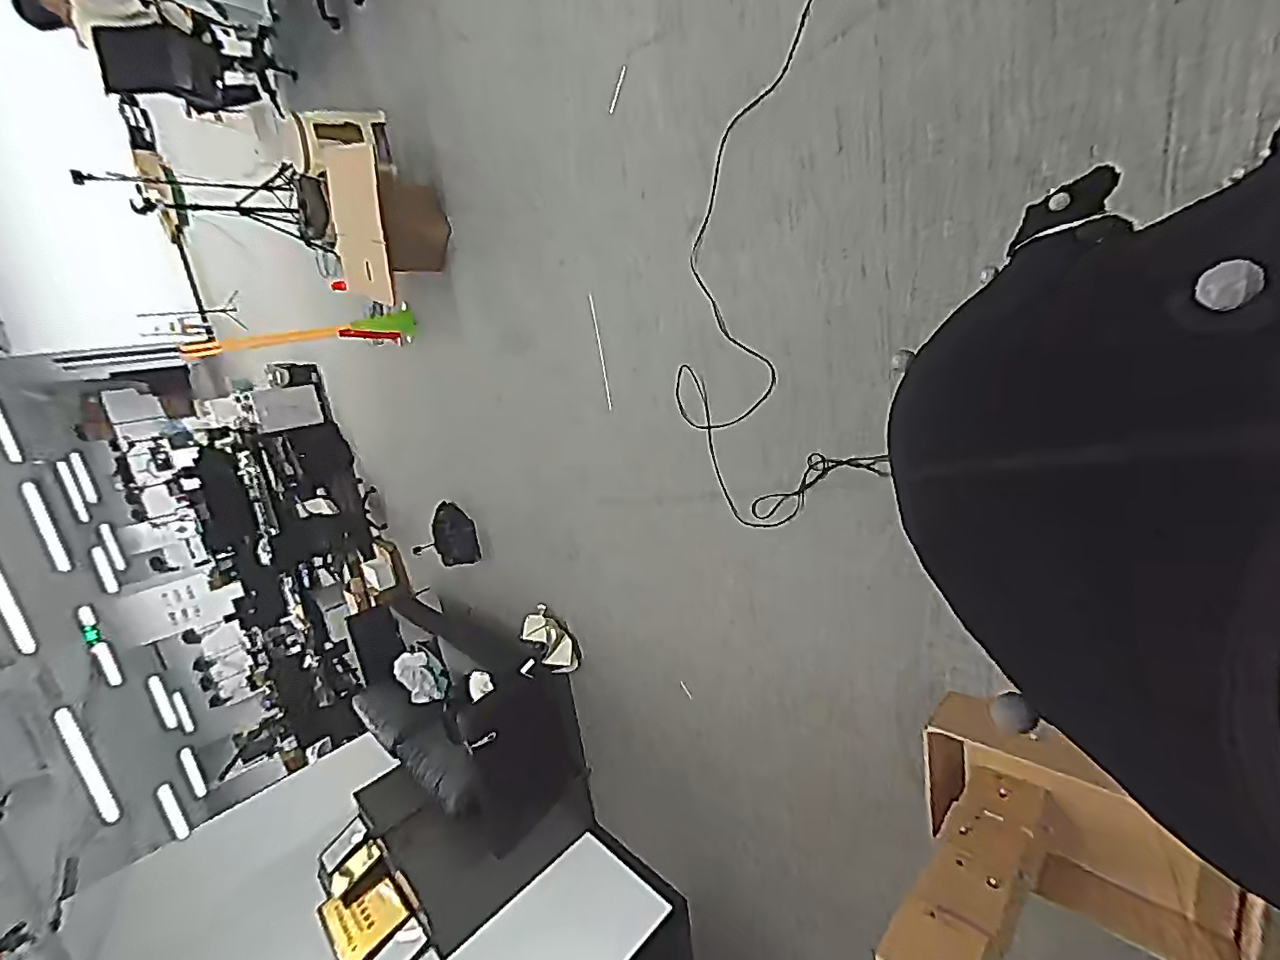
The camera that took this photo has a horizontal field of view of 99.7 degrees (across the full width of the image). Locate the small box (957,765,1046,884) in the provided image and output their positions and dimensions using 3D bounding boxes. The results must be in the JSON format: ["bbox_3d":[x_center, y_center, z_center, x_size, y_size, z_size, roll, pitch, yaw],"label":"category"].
[{"bbox_3d":[0.963,0.902,1.437,0.168,0.176,0.179,-2,105,45],"label":"small box"}]

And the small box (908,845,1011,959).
[{"bbox_3d":[0.724,0.987,1.227,0.168,0.176,0.179,6,110,46],"label":"small box"}]

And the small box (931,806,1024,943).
[{"bbox_3d":[0.827,0.953,1.327,0.168,0.176,0.179,5,109,45],"label":"small box"}]
